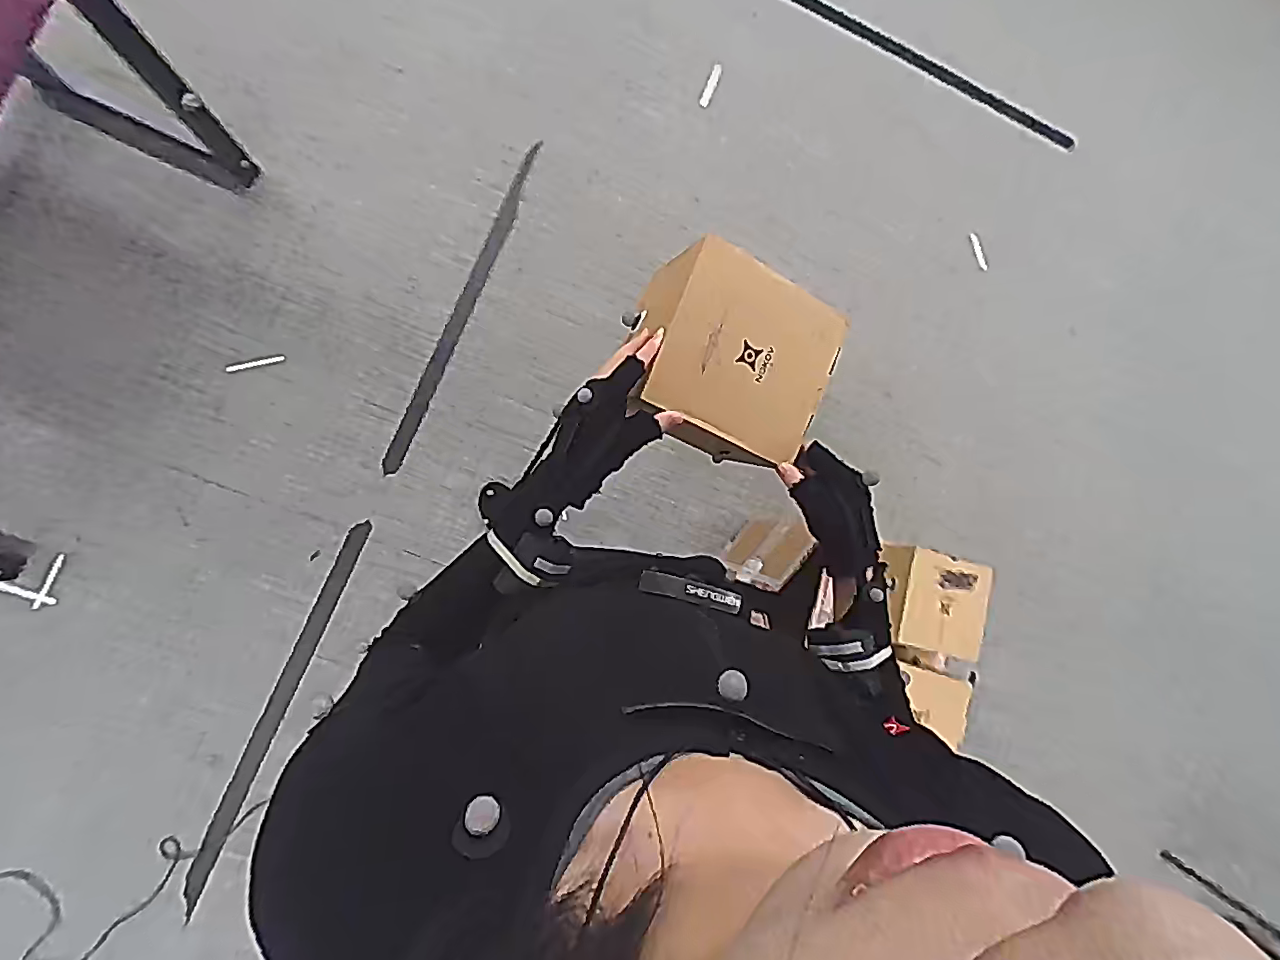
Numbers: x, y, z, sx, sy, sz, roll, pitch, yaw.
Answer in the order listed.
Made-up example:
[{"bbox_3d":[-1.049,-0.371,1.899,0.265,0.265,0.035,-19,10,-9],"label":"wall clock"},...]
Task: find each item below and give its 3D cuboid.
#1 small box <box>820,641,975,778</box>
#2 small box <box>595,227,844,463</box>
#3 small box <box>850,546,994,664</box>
[{"bbox_3d":[0.473,0.418,1.013,0.179,0.176,0.168,19,85,-9],"label":"small box"},{"bbox_3d":[0.073,-0.129,0.578,0.179,0.176,0.168,21,88,-18],"label":"small box"},{"bbox_3d":[0.530,0.229,1.035,0.168,0.176,0.179,16,82,-9],"label":"small box"}]
